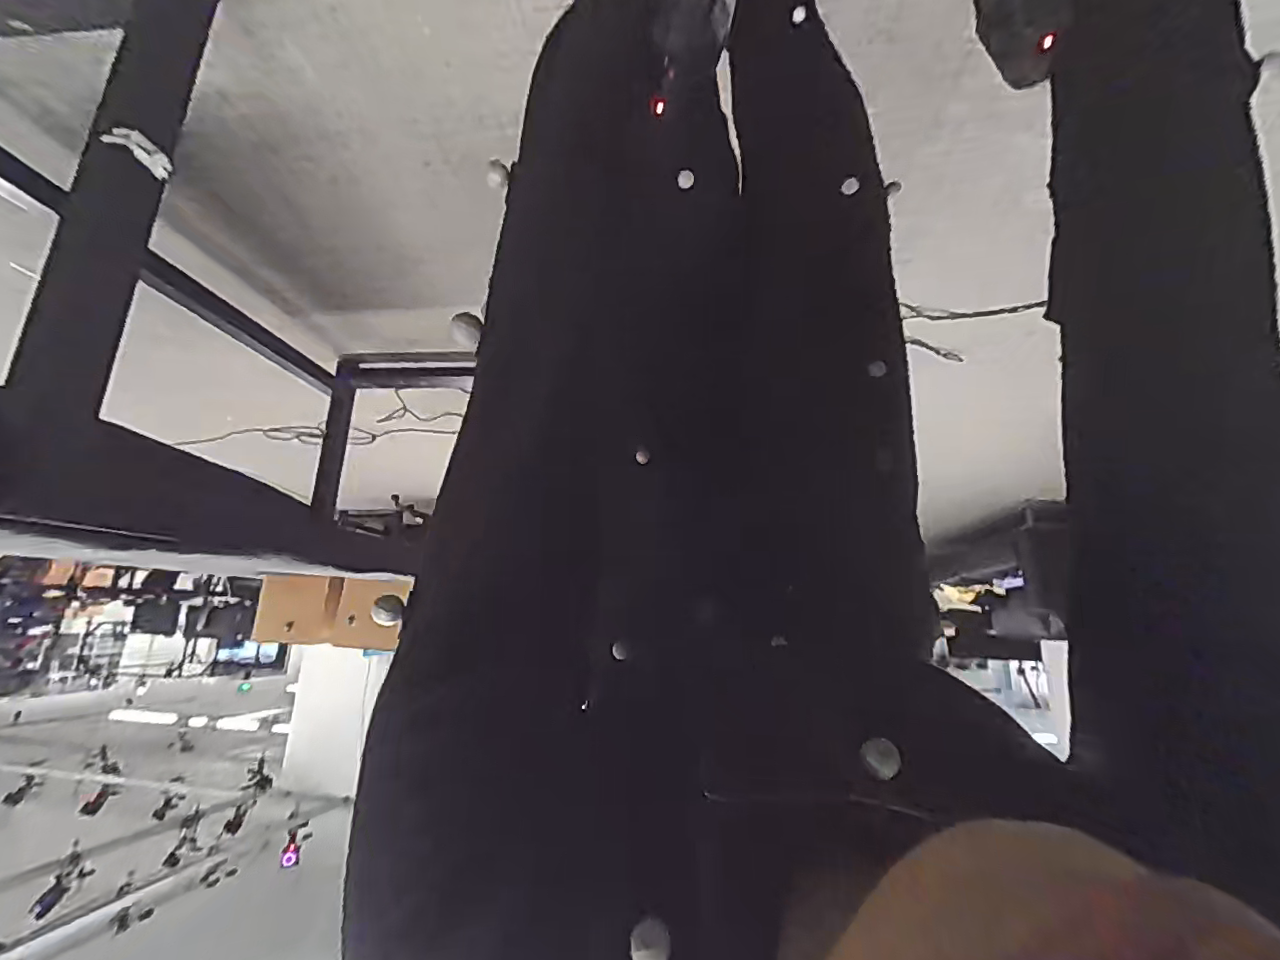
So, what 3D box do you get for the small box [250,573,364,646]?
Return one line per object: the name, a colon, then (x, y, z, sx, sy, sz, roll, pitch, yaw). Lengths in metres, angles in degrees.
small box: (-0.838, 0.331, 1.381, 0.179, 0.176, 0.168, 0, 166, 5)
